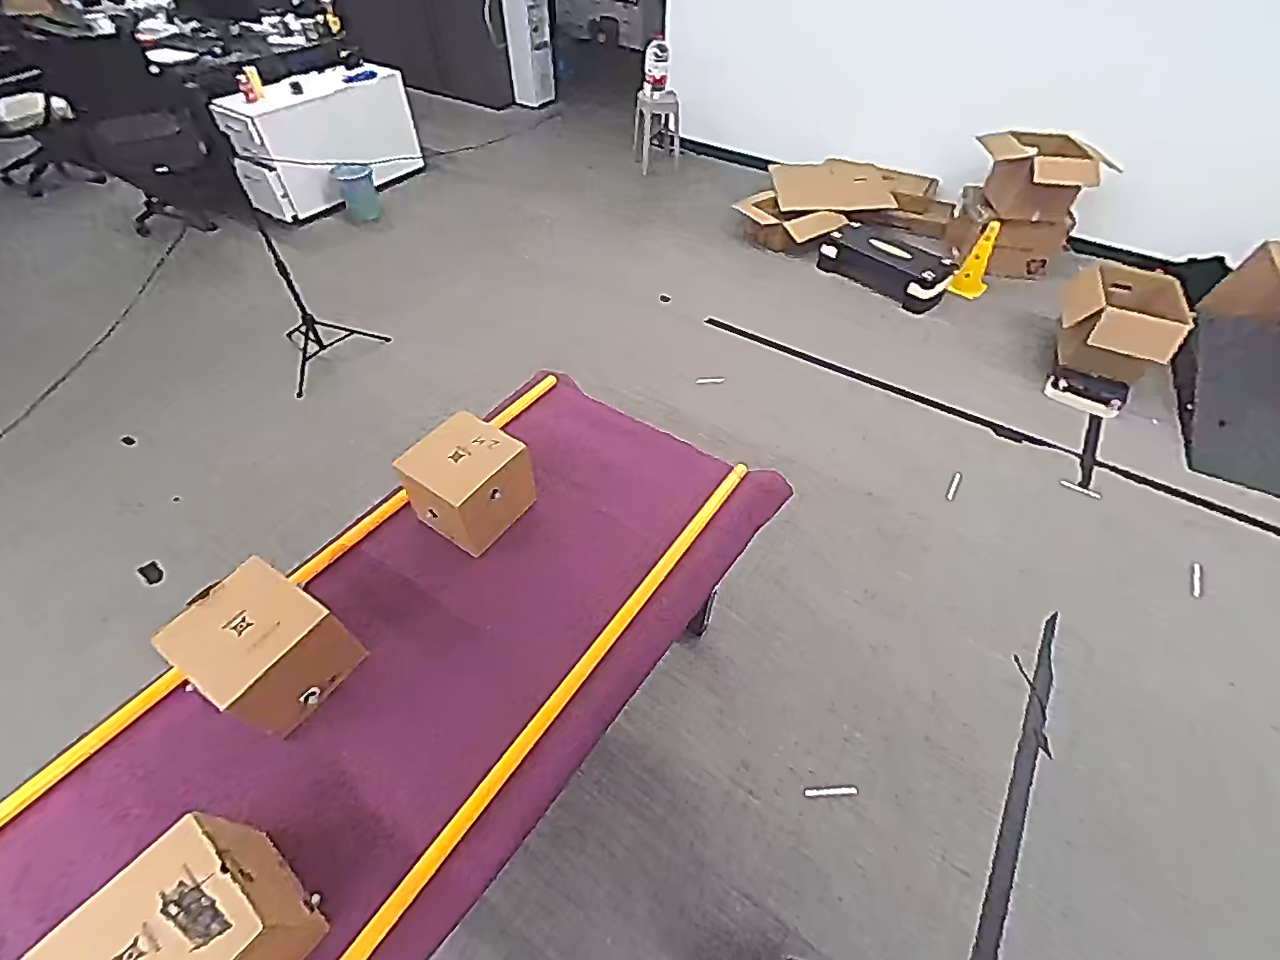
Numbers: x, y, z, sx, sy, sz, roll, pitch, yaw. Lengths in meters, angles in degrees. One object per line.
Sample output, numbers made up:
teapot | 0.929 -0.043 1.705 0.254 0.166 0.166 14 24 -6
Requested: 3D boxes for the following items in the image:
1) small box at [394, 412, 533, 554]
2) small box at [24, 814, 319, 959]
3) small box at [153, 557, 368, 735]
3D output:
small box | -0.321 0.009 1.029 0.168 0.176 0.179 29 55 19
small box | -0.494 0.518 0.599 0.168 0.176 0.179 32 56 23
small box | -0.559 0.256 0.820 0.179 0.176 0.168 27 55 19
